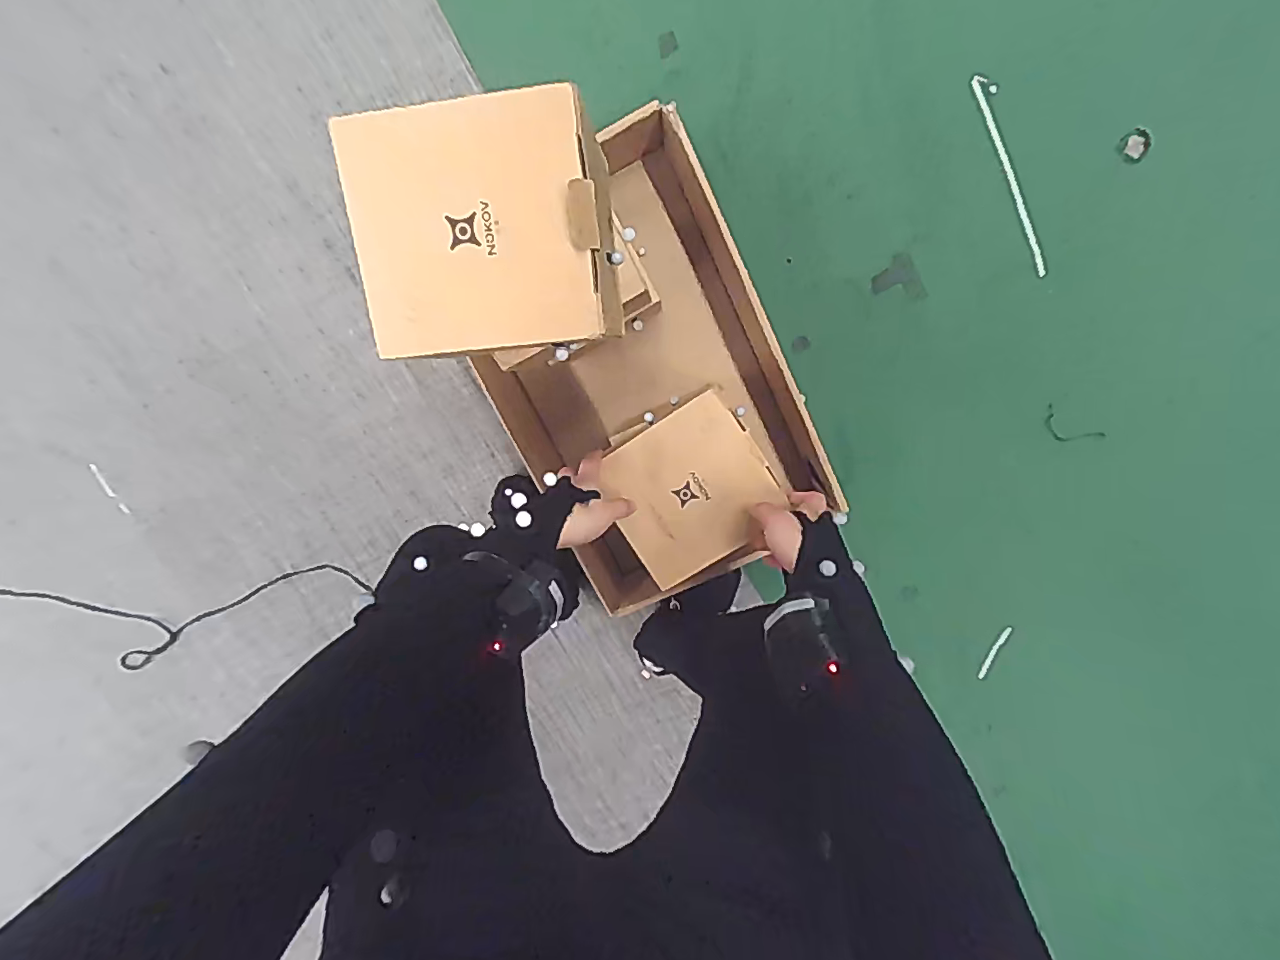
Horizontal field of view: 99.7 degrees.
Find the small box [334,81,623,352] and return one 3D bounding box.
[{"bbox_3d":[-0.114,-0.199,0.460,0.179,0.176,0.168,-5,104,4],"label":"small box"}]

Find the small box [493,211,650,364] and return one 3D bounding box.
[{"bbox_3d":[-0.099,-0.245,0.616,0.179,0.176,0.168,-26,102,9],"label":"small box"}]

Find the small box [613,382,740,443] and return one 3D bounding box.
[{"bbox_3d":[0.075,-0.042,0.828,0.179,0.176,0.168,-22,101,9],"label":"small box"}]

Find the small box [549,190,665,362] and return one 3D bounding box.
[{"bbox_3d":[-0.078,-0.285,0.773,0.179,0.176,0.168,-27,101,9],"label":"small box"}]

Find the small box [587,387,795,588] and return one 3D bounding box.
[{"bbox_3d":[0.061,-0.003,0.665,0.179,0.176,0.168,-32,96,11],"label":"small box"}]
